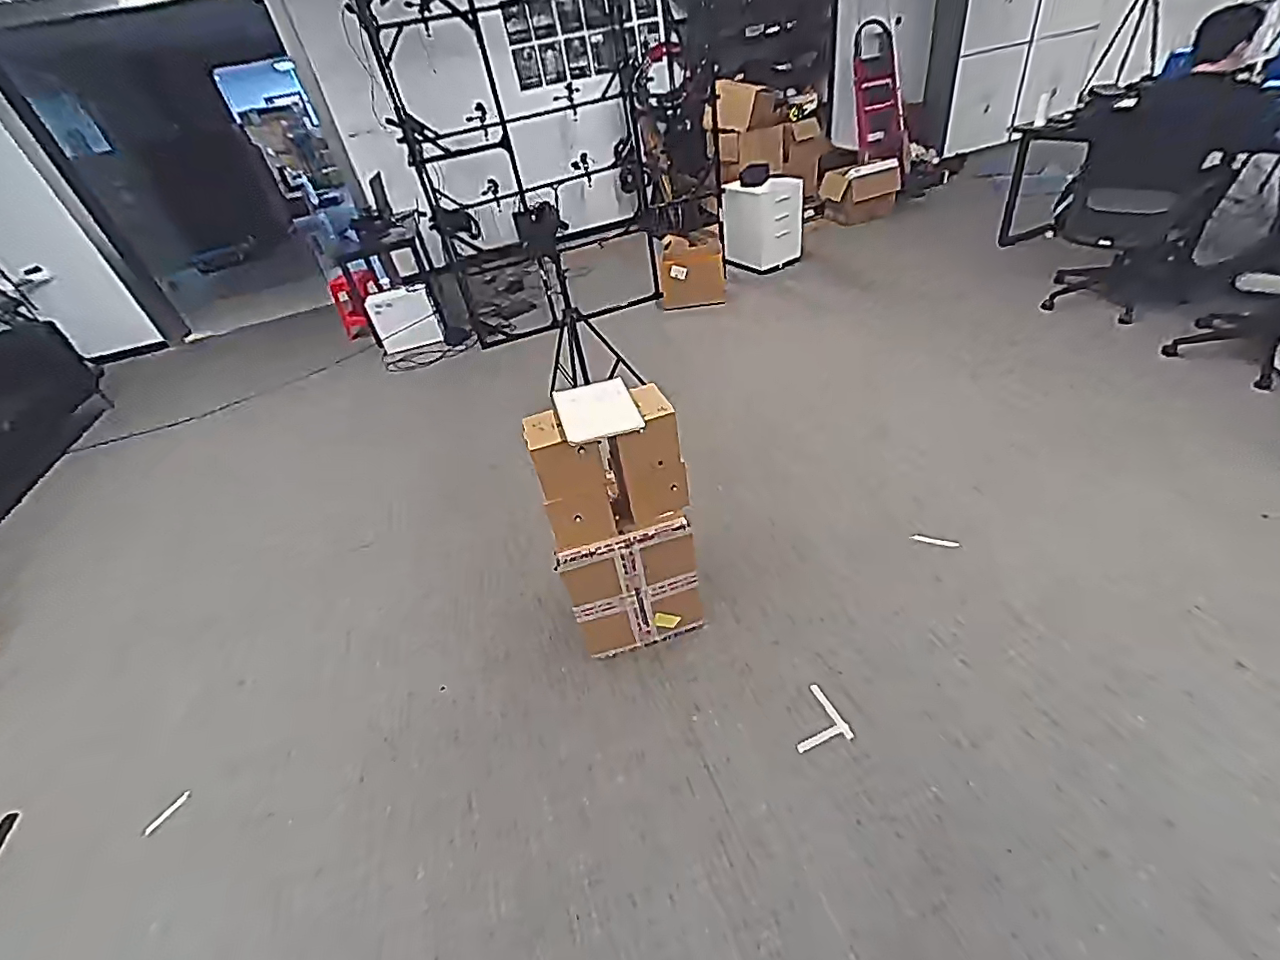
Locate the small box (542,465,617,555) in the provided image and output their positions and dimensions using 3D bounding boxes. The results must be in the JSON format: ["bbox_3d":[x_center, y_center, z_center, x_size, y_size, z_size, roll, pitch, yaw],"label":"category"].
[{"bbox_3d":[-0.169,0.086,1.544,0.179,0.176,0.168,-15,40,-3],"label":"small box"}]

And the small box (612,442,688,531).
[{"bbox_3d":[0.033,0.020,1.576,0.179,0.176,0.168,-19,40,-10],"label":"small box"}]
